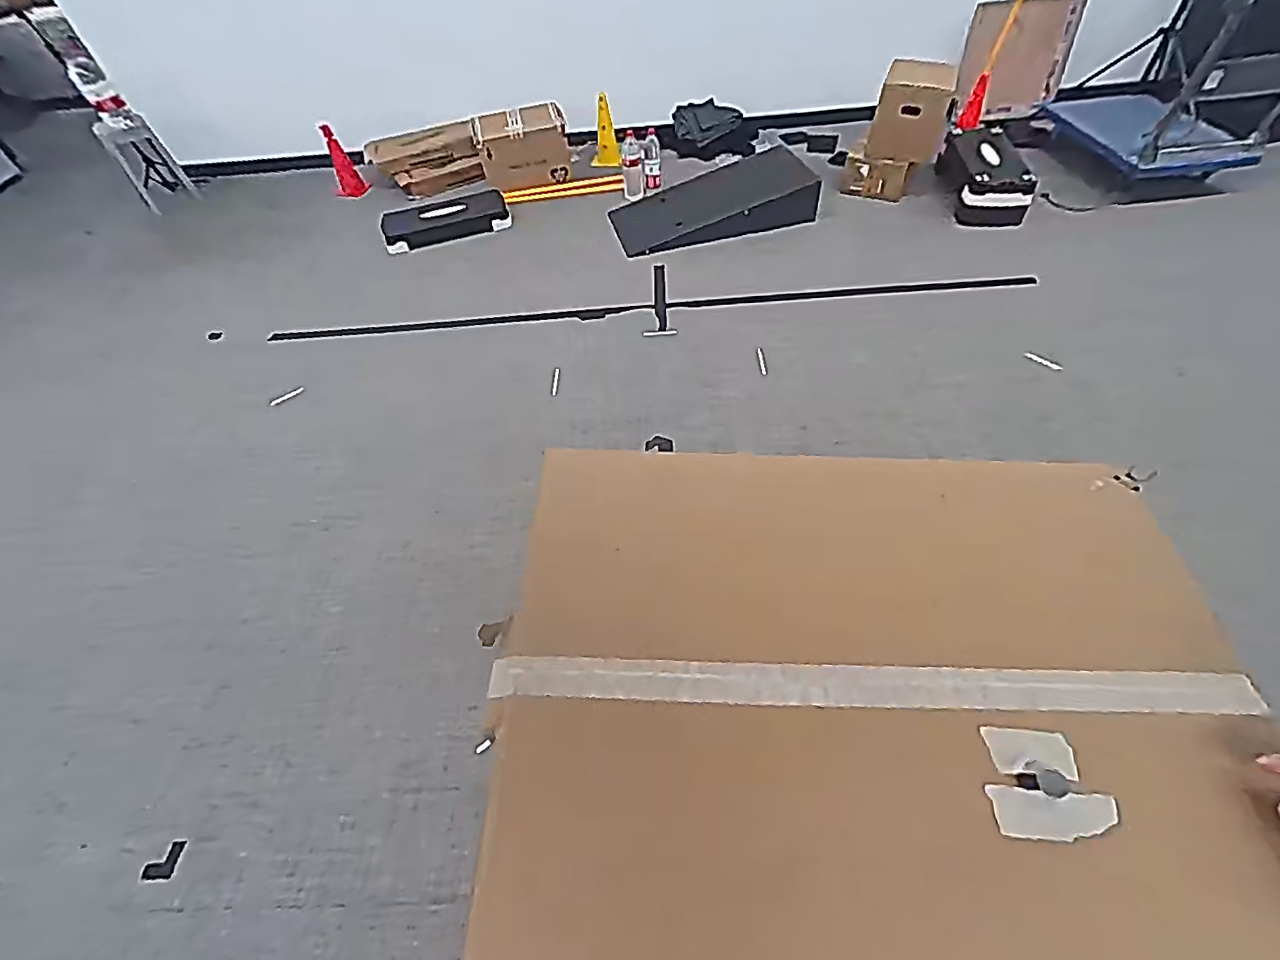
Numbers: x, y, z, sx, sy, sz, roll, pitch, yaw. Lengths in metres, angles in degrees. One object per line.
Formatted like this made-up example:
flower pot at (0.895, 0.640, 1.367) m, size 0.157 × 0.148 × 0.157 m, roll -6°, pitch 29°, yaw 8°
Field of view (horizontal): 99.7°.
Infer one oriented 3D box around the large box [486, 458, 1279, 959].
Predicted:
large box at (0.126, 0.199, 0.428) m, size 0.408 × 0.320 × 0.320 m, roll 2°, pitch 56°, yaw 0°
